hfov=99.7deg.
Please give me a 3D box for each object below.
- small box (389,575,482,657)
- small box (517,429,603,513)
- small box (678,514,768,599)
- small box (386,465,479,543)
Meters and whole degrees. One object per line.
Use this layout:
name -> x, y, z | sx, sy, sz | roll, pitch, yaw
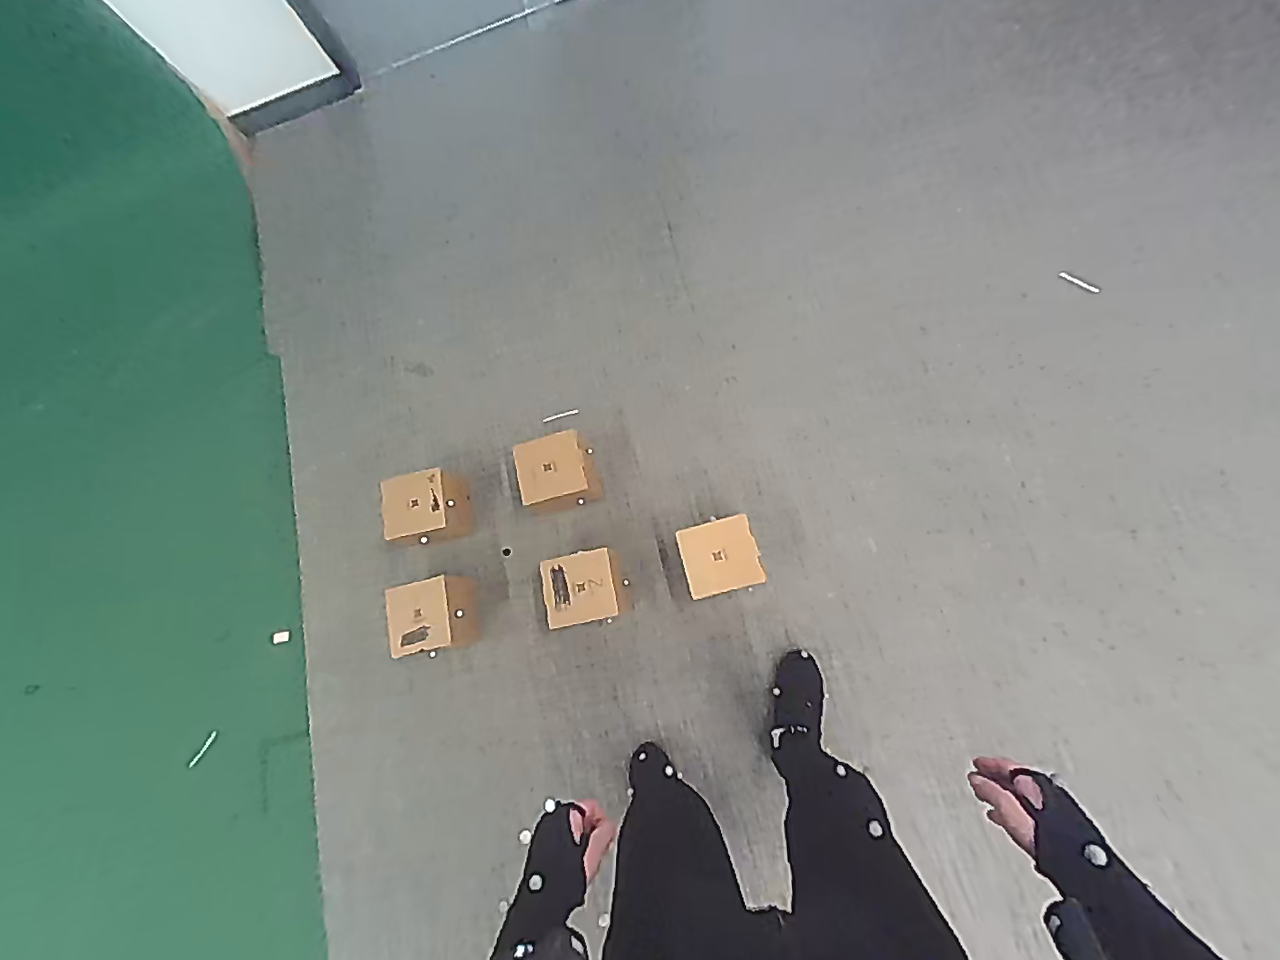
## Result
small box -> -0.531, 0.353, 1.421 | 0.168, 0.176, 0.179 | -13, 75, 7
small box -> -0.206, -0.017, 1.443 | 0.179, 0.176, 0.168 | -15, 75, 7
small box -> 0.204, 0.194, 1.327 | 0.179, 0.176, 0.168 | -16, 76, 6
small box -> -0.569, 0.073, 1.488 | 0.179, 0.176, 0.168 | -12, 76, 8
